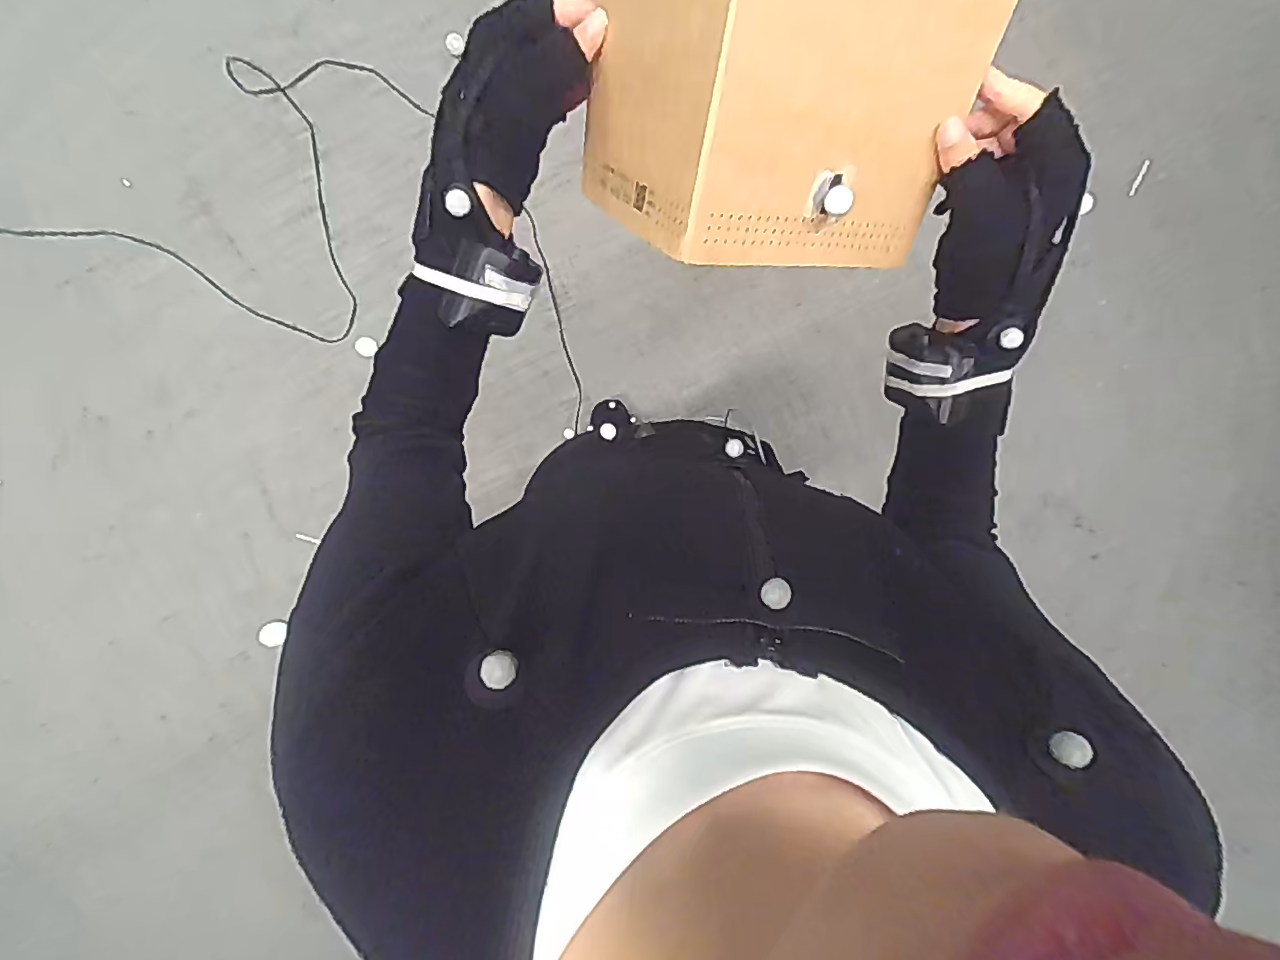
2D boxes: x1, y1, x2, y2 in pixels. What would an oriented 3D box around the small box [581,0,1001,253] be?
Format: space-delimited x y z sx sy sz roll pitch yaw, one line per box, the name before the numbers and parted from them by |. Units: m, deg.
small box | 0.074 -0.252 0.340 0.179 0.168 0.176 -10 132 -24
